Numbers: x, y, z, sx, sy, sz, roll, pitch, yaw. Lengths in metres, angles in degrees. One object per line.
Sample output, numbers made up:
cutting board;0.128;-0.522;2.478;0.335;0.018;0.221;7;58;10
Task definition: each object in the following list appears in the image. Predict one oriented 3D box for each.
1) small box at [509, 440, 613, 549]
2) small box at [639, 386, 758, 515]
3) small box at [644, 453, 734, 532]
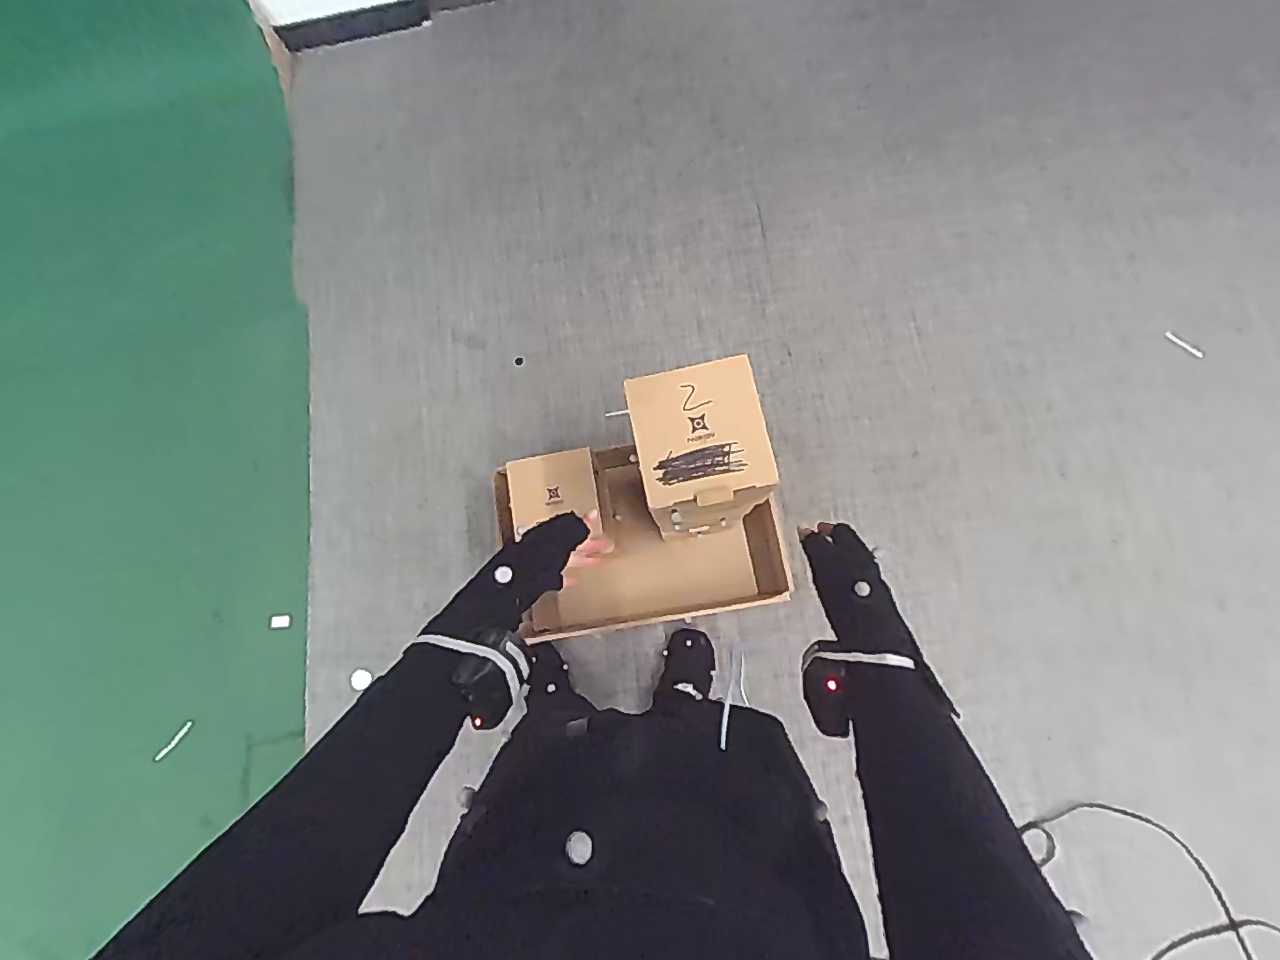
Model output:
small box;-0.154;0.035;1.089;0.168;0.176;0.179;-10;78;2
small box;0.097;-0.039;0.917;0.168;0.176;0.179;-9;79;3
small box;0.115;0.018;1.240;0.168;0.176;0.179;-14;78;4
